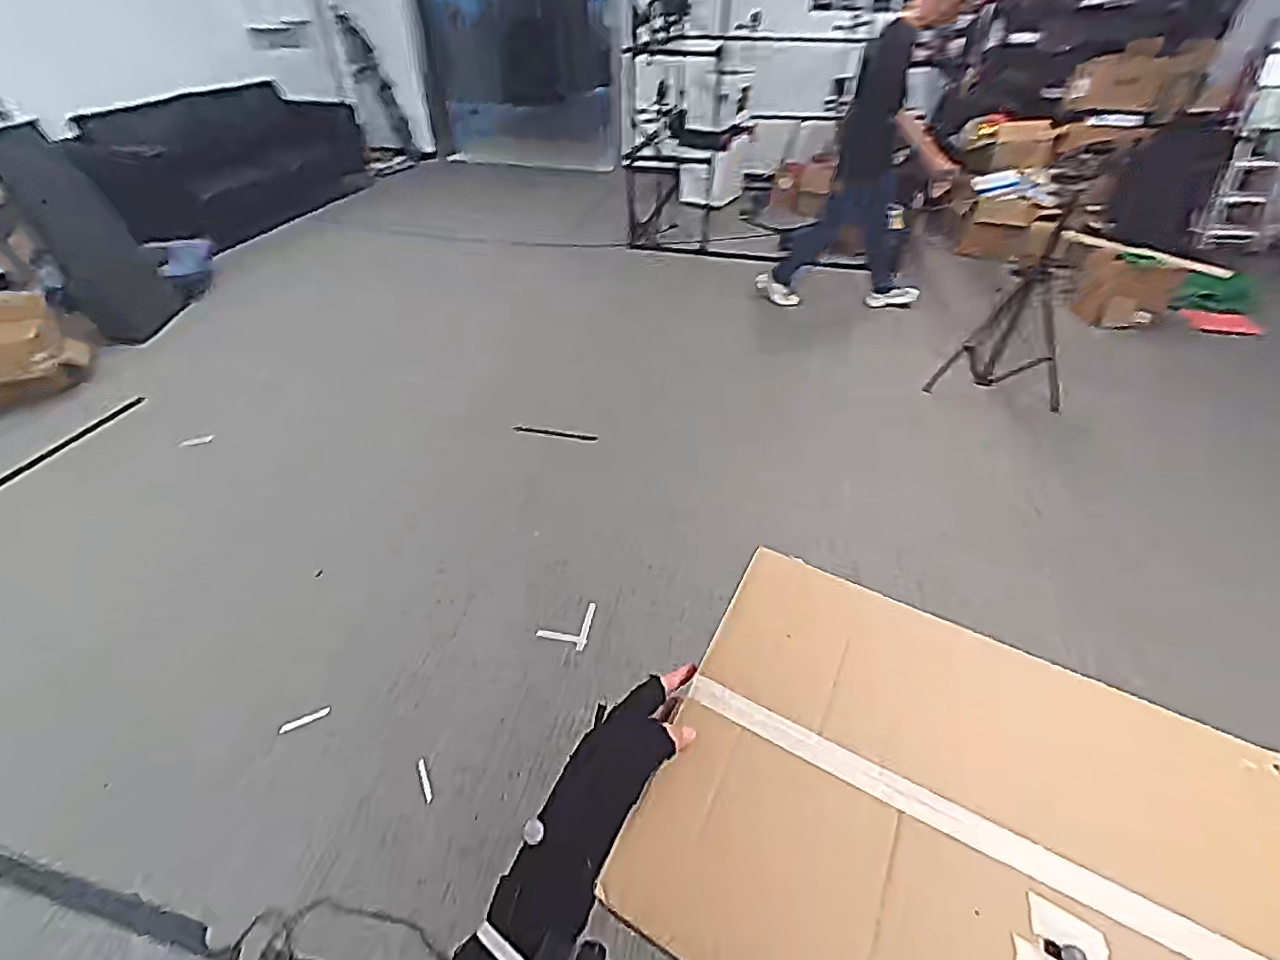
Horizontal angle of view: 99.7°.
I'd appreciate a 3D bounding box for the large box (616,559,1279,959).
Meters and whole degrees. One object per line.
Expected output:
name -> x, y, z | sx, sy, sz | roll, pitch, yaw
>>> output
large box -> 0.228, 0.341, 0.500 | 0.408, 0.320, 0.320 | 21, 53, 20
